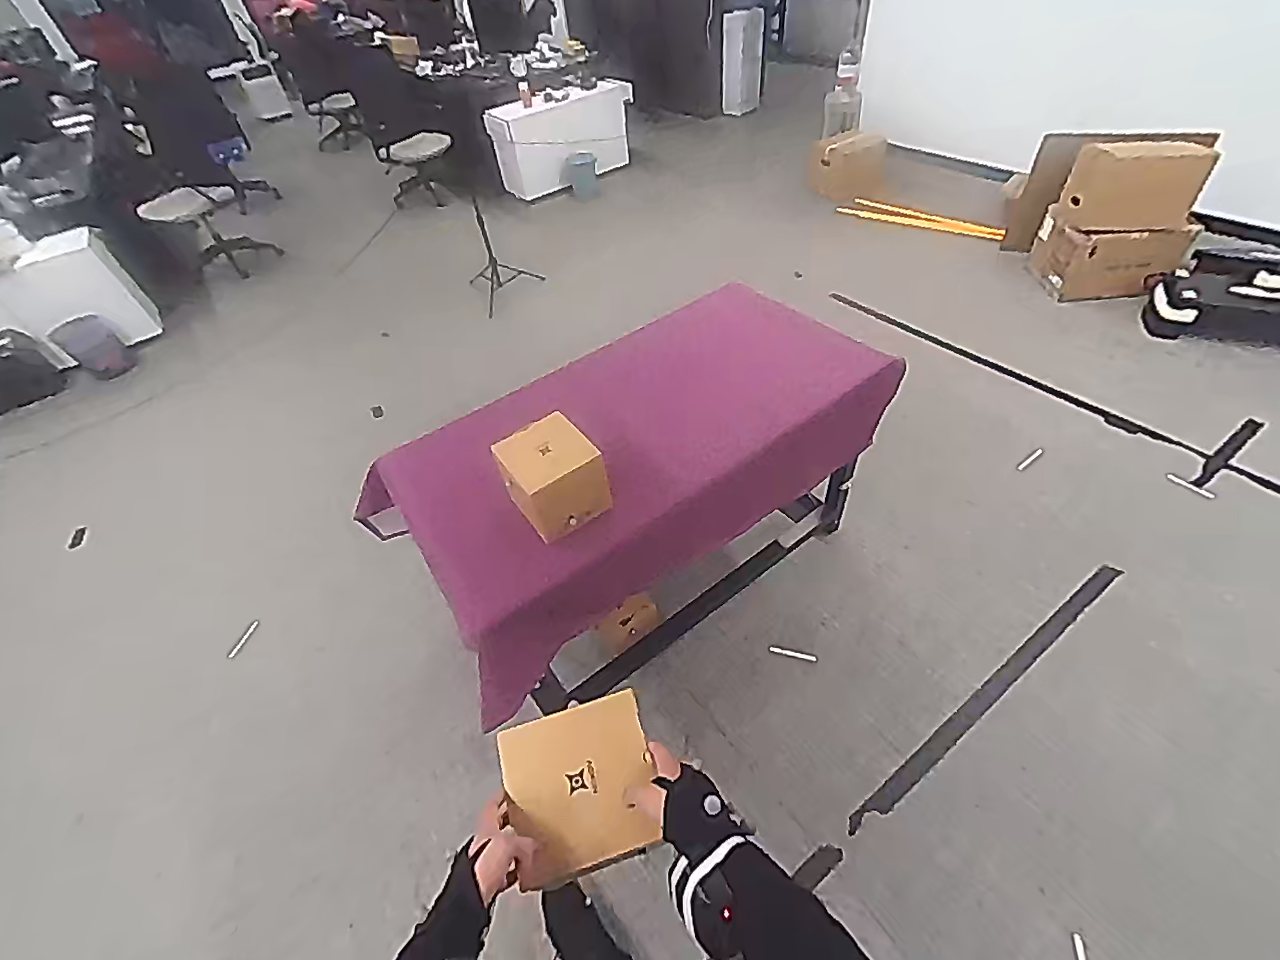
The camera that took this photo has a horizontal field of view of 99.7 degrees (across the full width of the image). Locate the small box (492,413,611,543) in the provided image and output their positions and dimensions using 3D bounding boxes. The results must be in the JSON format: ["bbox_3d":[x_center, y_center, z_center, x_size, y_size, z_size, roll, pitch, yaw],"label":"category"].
[{"bbox_3d":[-0.179,-0.003,1.122,0.168,0.176,0.179,-31,51,-18],"label":"small box"}]

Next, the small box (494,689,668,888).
[{"bbox_3d":[-0.069,0.393,0.685,0.179,0.176,0.168,-15,55,-9],"label":"small box"}]
